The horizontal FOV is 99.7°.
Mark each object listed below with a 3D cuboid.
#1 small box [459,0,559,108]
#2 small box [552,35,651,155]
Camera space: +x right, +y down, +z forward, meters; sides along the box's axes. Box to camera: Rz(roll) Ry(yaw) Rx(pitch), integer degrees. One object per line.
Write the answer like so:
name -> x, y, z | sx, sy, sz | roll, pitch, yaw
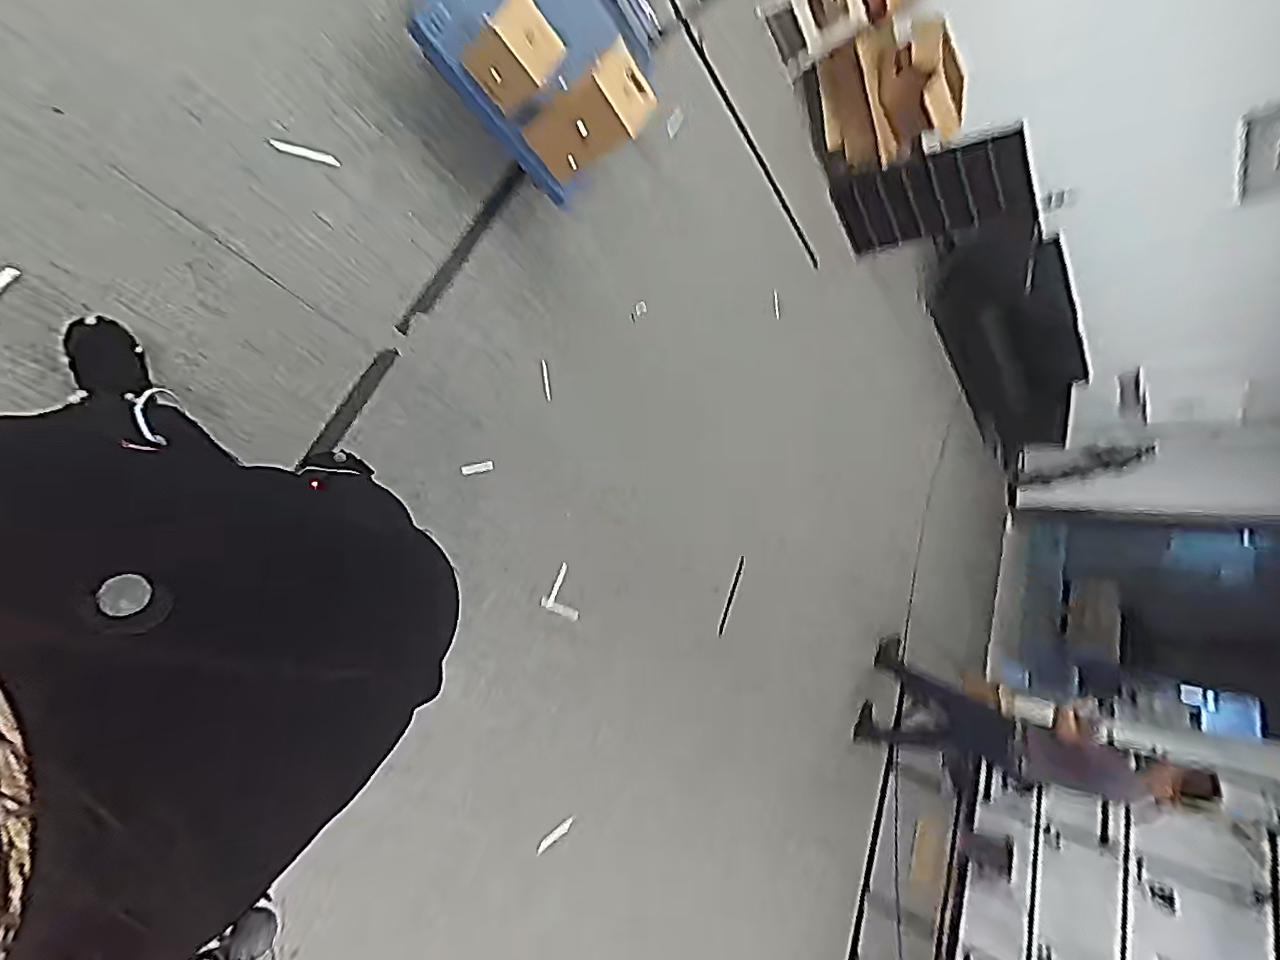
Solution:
small box -> -0.354, -1.145, 1.437 | 0.168, 0.176, 0.179 | 39, 63, -39
small box -> -0.106, -1.027, 1.454 | 0.168, 0.176, 0.179 | 42, 63, -37
